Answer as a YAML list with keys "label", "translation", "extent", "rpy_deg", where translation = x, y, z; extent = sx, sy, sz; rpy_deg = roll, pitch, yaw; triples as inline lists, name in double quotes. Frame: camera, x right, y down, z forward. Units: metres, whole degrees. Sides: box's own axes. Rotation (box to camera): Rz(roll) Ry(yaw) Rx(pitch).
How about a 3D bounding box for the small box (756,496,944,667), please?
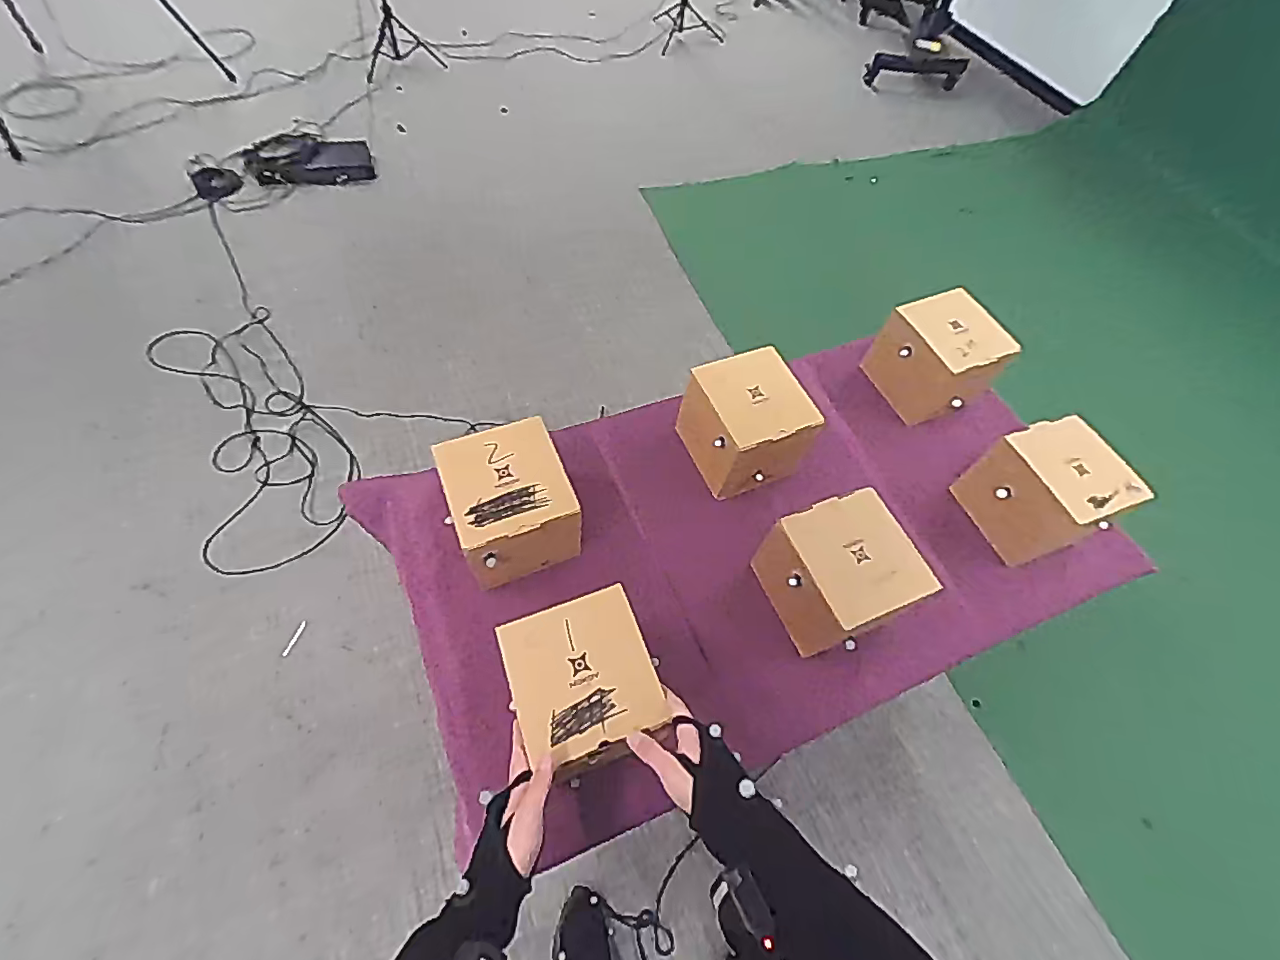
- label: "small box"
  translation: [0.299, 0.156, 0.816]
  extent: [0.168, 0.176, 0.179]
  rpy_deg: [-17, 62, -15]

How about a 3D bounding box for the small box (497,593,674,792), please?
- label: "small box"
  translation: [-0.066, 0.275, 0.687]
  extent: [0.168, 0.176, 0.179]
  rpy_deg: [-17, 59, -12]

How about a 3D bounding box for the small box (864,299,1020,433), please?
- label: "small box"
  translation: [0.584, -0.224, 1.076]
  extent: [0.168, 0.176, 0.179]
  rpy_deg: [-19, 64, -14]

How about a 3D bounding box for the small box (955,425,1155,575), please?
- label: "small box"
  translation: [0.695, 0.037, 0.932]
  extent: [0.168, 0.176, 0.179]
  rpy_deg: [-15, 59, -14]

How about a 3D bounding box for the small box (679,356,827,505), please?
- label: "small box"
  translation: [0.185, -0.084, 0.950]
  extent: [0.168, 0.176, 0.179]
  rpy_deg: [-18, 64, -17]
